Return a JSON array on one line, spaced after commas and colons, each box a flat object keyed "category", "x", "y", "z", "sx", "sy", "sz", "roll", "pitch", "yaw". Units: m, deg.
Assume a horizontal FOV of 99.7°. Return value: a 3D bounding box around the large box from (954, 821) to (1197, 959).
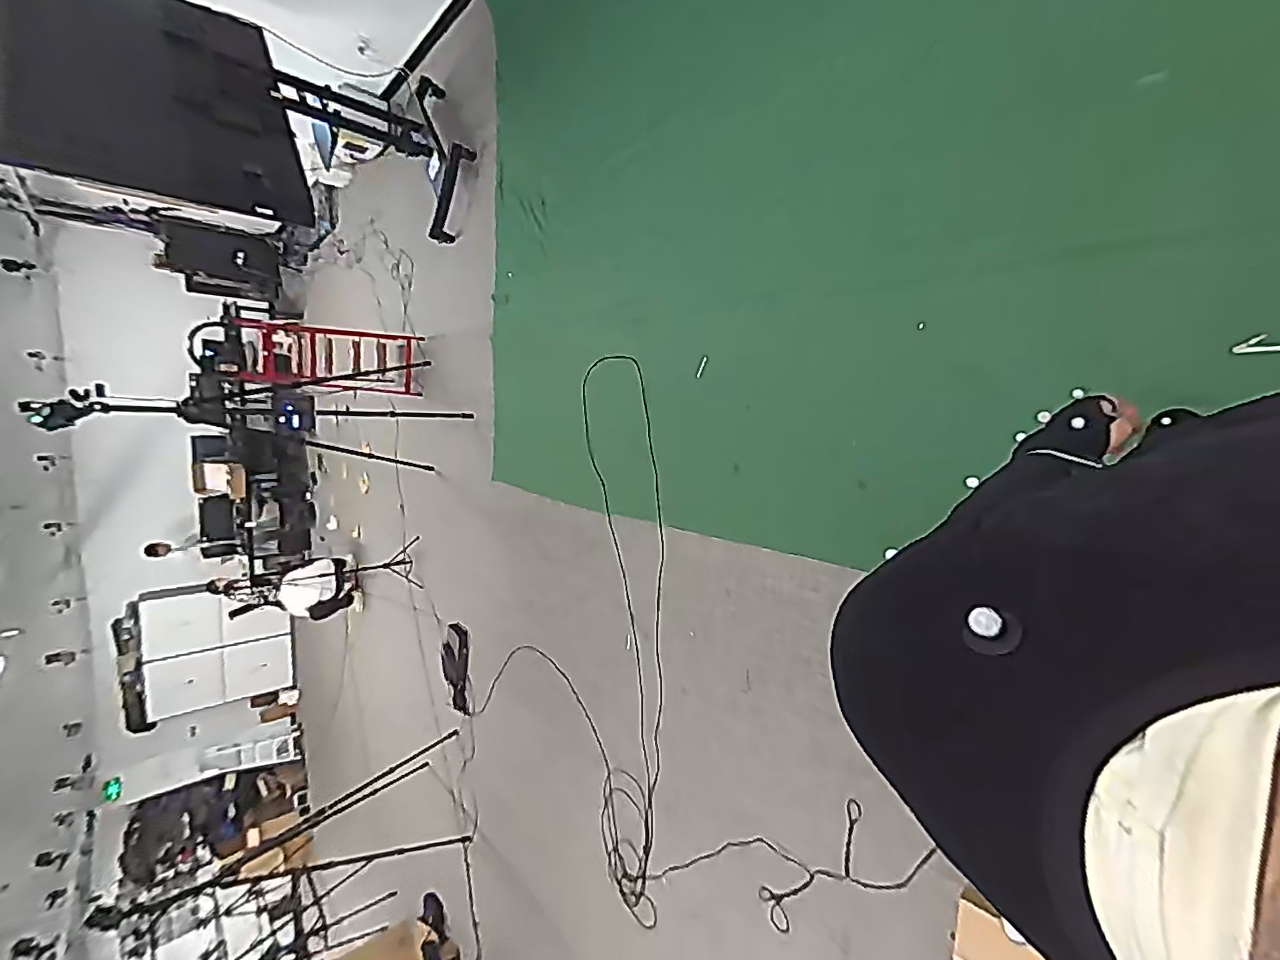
[{"category": "large box", "x": 1.013, "y": 1.116, "z": 1.278, "sx": 0.408, "sy": 0.320, "sz": 0.320, "roll": 8, "pitch": 100, "yaw": 46}]
